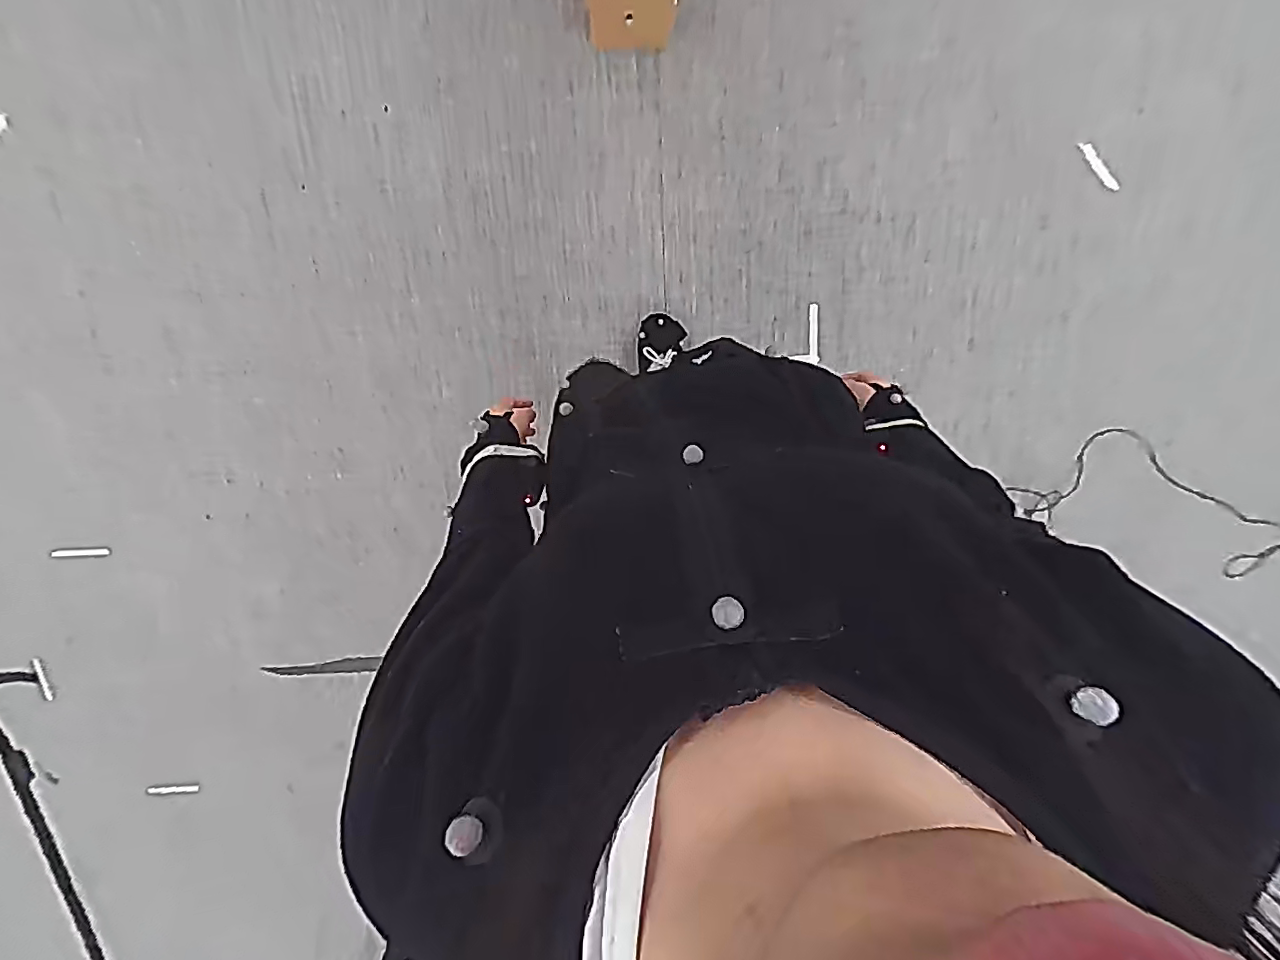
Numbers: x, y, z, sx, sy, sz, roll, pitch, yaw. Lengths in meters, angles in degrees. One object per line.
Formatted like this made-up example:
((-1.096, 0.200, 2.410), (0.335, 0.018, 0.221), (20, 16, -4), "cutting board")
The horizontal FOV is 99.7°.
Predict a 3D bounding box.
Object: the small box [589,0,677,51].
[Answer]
((-0.019, -1.033, 1.131), (0.179, 0.176, 0.168), (-2, 106, -1), "small box")

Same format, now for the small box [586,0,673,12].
((-0.020, -0.986, 0.973), (0.179, 0.176, 0.168), (0, 106, -2), "small box")
